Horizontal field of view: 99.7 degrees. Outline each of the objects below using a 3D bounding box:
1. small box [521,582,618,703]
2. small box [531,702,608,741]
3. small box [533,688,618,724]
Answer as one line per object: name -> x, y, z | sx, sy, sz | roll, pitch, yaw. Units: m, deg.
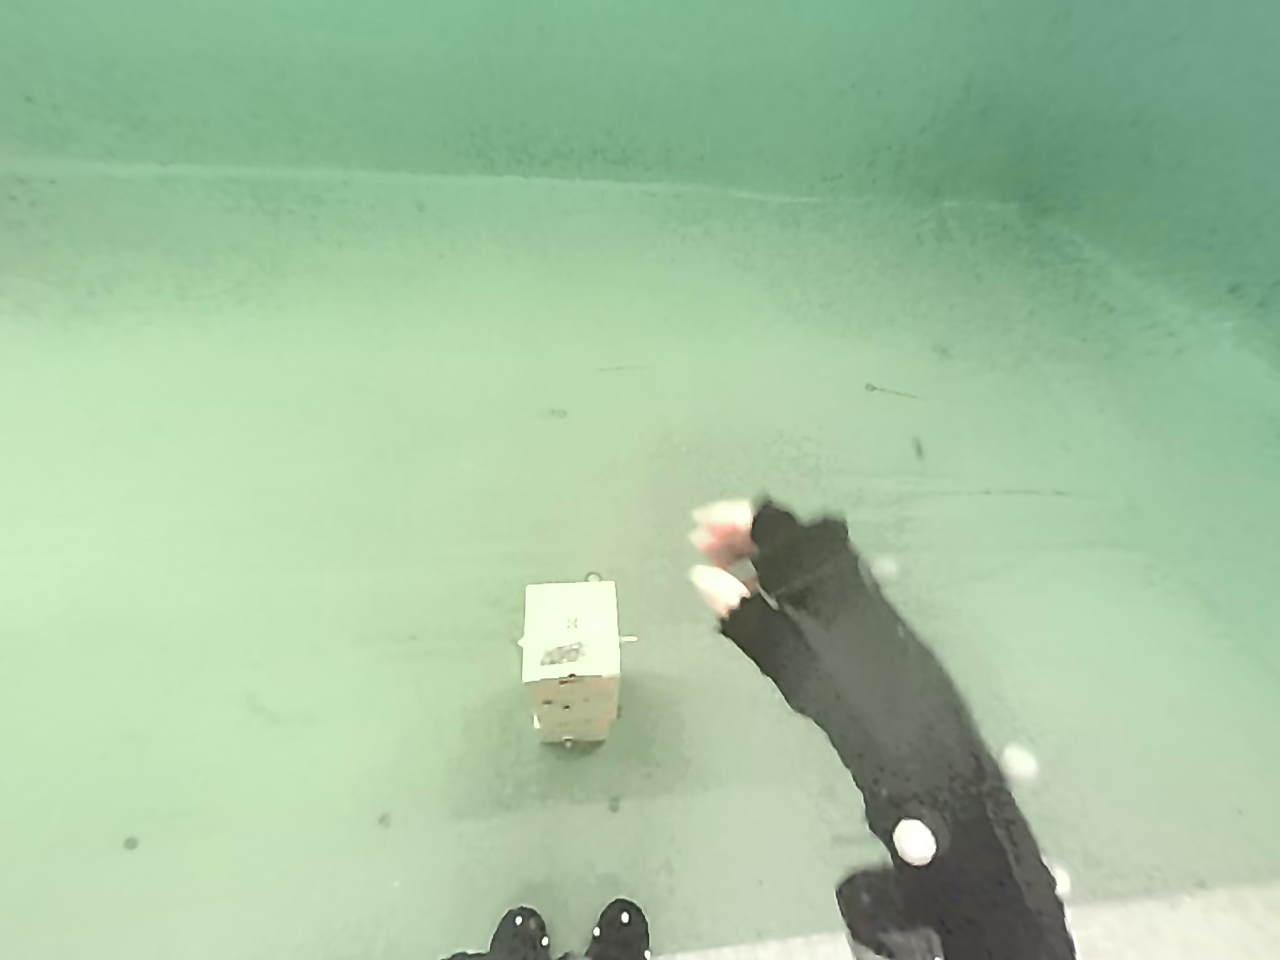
small box -> -0.127, 0.310, 1.014 | 0.168, 0.176, 0.179 | -1, 53, -6
small box -> -0.157, 0.497, 1.259 | 0.168, 0.176, 0.179 | 0, 54, -3
small box -> -0.136, 0.406, 1.148 | 0.168, 0.176, 0.179 | -2, 53, -6
